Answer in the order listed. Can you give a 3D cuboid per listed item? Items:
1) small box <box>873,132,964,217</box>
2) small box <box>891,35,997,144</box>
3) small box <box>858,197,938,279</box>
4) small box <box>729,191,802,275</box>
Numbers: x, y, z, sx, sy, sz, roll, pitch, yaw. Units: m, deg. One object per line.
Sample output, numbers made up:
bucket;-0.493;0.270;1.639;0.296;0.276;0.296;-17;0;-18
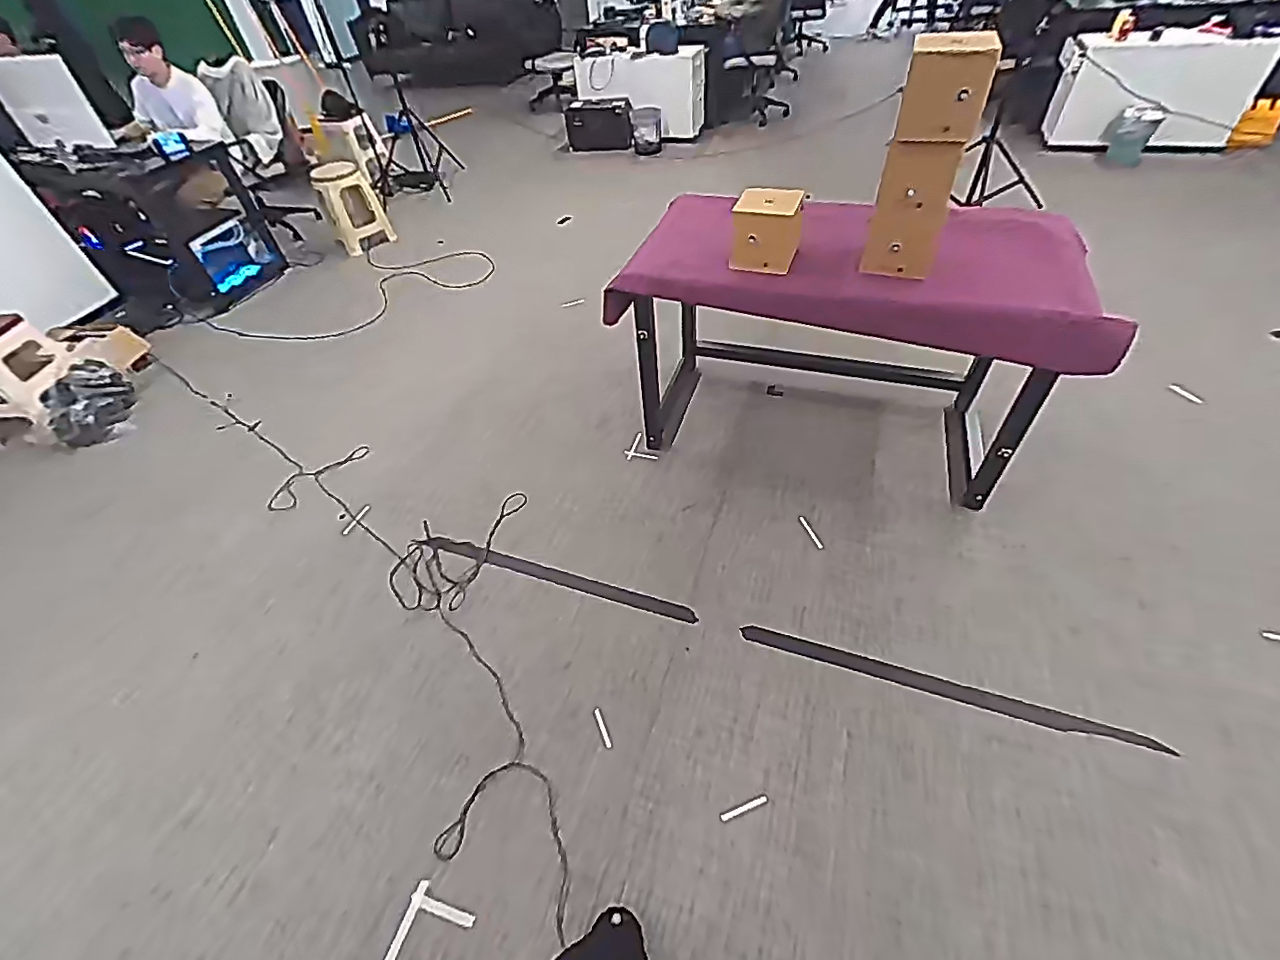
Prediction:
small box;0.691;-0.779;1.346;0.168;0.176;0.179;14;51;18
small box;0.673;-0.873;1.213;0.168;0.176;0.179;12;49;15
small box;0.699;-0.665;1.465;0.168;0.176;0.179;14;50;18
small box;0.352;-0.700;1.534;0.168;0.176;0.179;13;49;17
